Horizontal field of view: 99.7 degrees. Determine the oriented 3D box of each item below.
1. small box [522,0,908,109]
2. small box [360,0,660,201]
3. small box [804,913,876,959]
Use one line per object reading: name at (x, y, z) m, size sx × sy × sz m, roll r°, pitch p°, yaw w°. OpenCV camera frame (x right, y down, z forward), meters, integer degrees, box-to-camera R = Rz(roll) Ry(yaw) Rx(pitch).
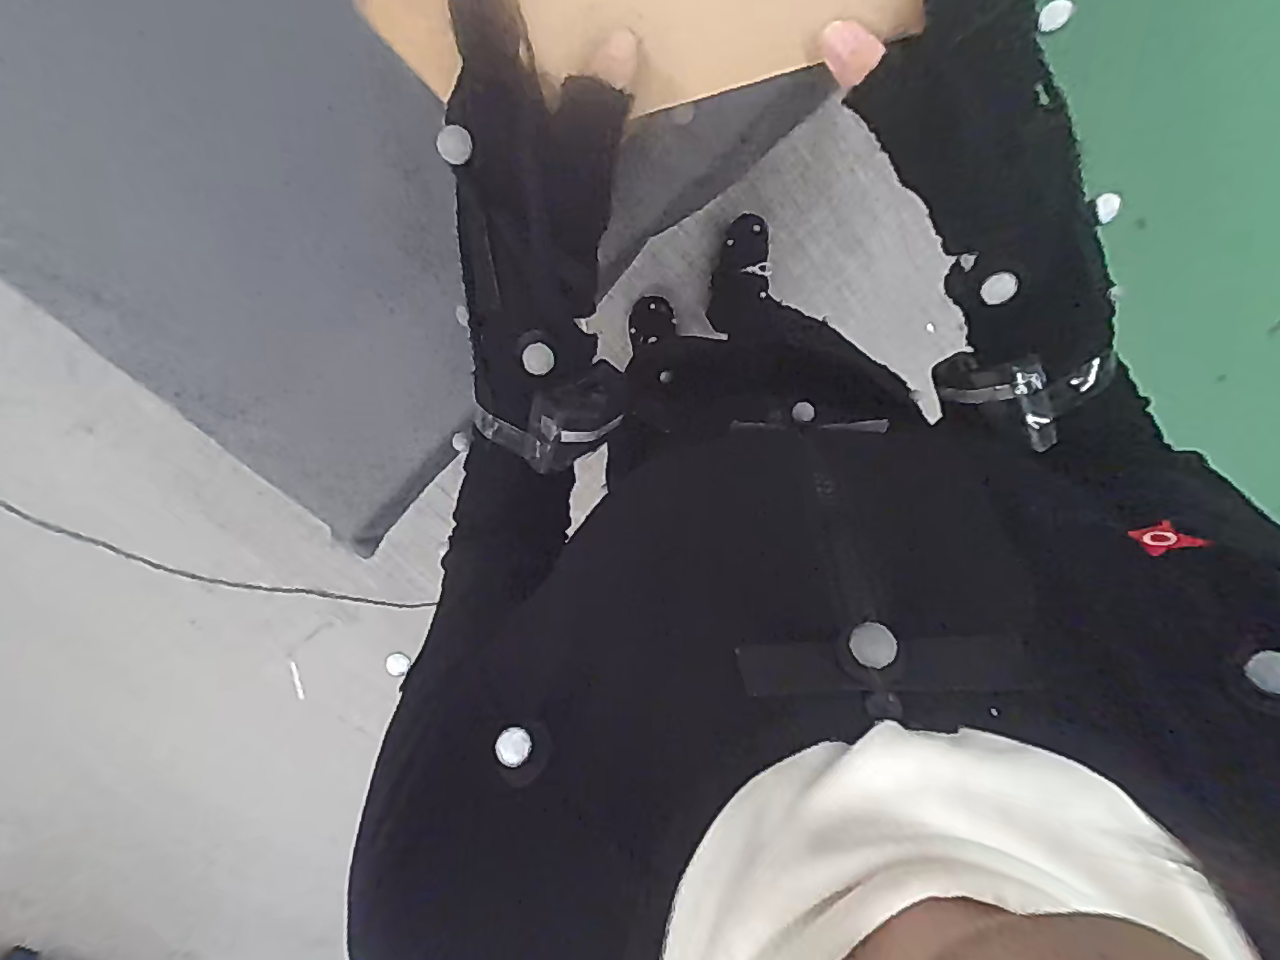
small box at (0.021, -0.296, 0.258) m, size 0.179 × 0.176 × 0.168 m, roll -15°, pitch 124°, yaw 6°
small box at (-0.089, -0.371, 0.466) m, size 0.179 × 0.176 × 0.168 m, roll 42°, pitch 105°, yaw -16°
small box at (0.590, 1.420, 1.596) m, size 0.168 × 0.176 × 0.179 m, roll -6°, pitch 110°, yaw 1°
